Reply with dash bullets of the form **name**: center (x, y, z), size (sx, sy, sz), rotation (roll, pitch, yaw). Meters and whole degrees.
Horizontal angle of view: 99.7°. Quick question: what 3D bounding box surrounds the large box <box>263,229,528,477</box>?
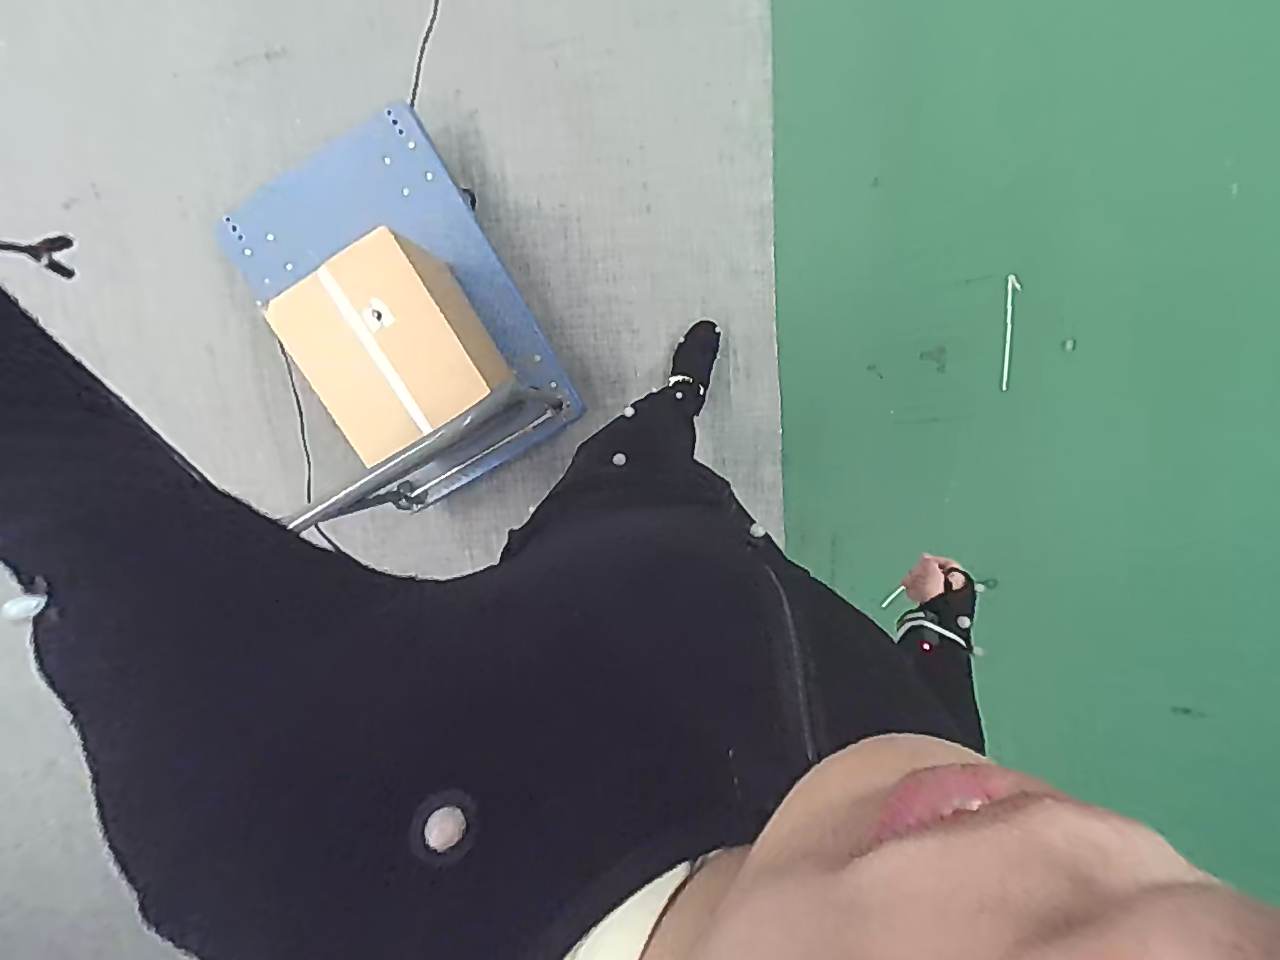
- **large box**: center (-0.517, -0.268, 1.232), size (0.320, 0.320, 0.408), rotation (-30, 97, 5)
